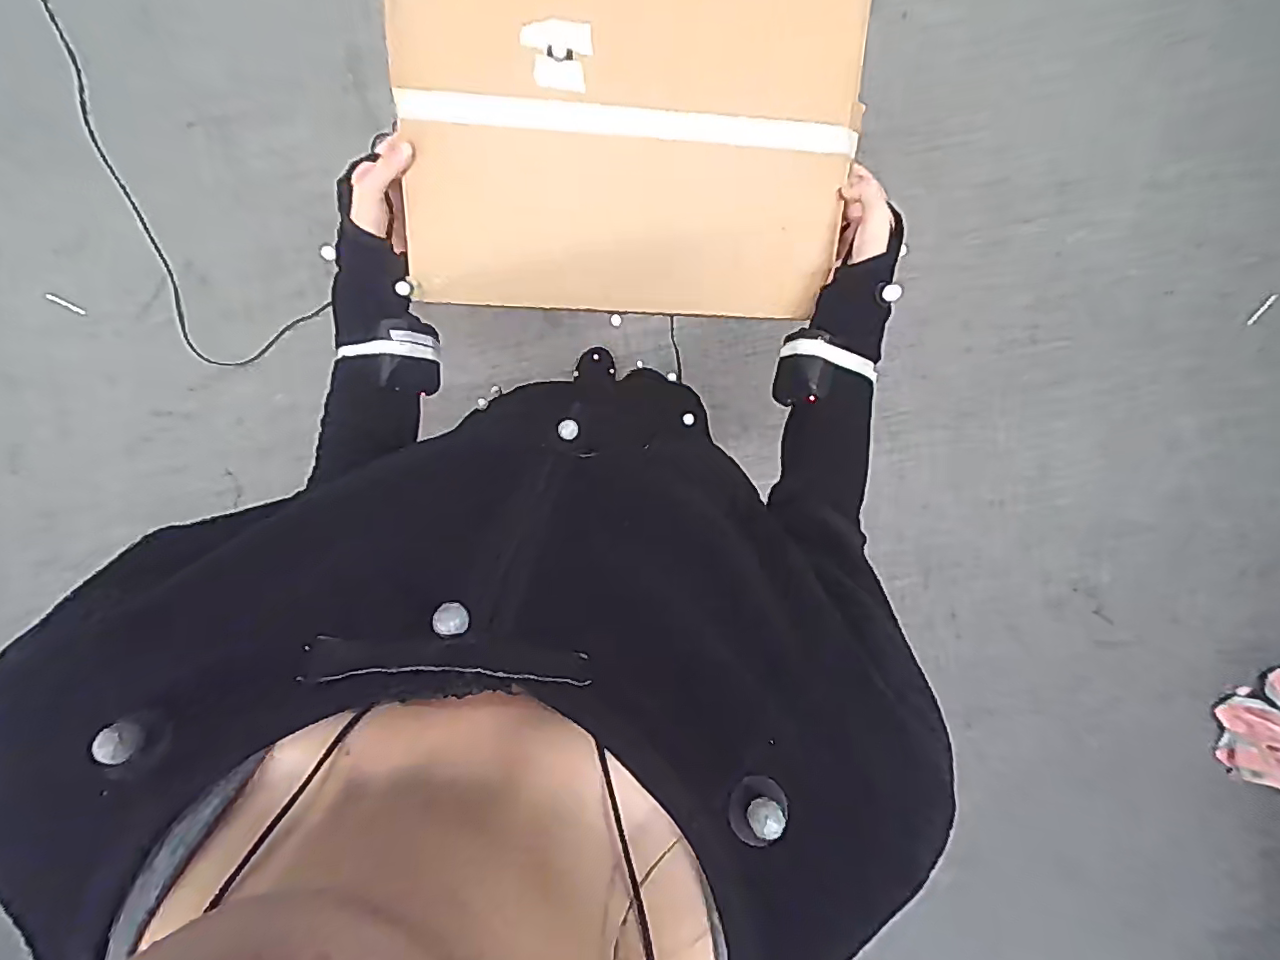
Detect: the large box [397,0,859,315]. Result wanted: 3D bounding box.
[{"bbox_3d":[-0.022,-0.367,0.632,0.408,0.320,0.320,1,108,-7],"label":"large box"}]
